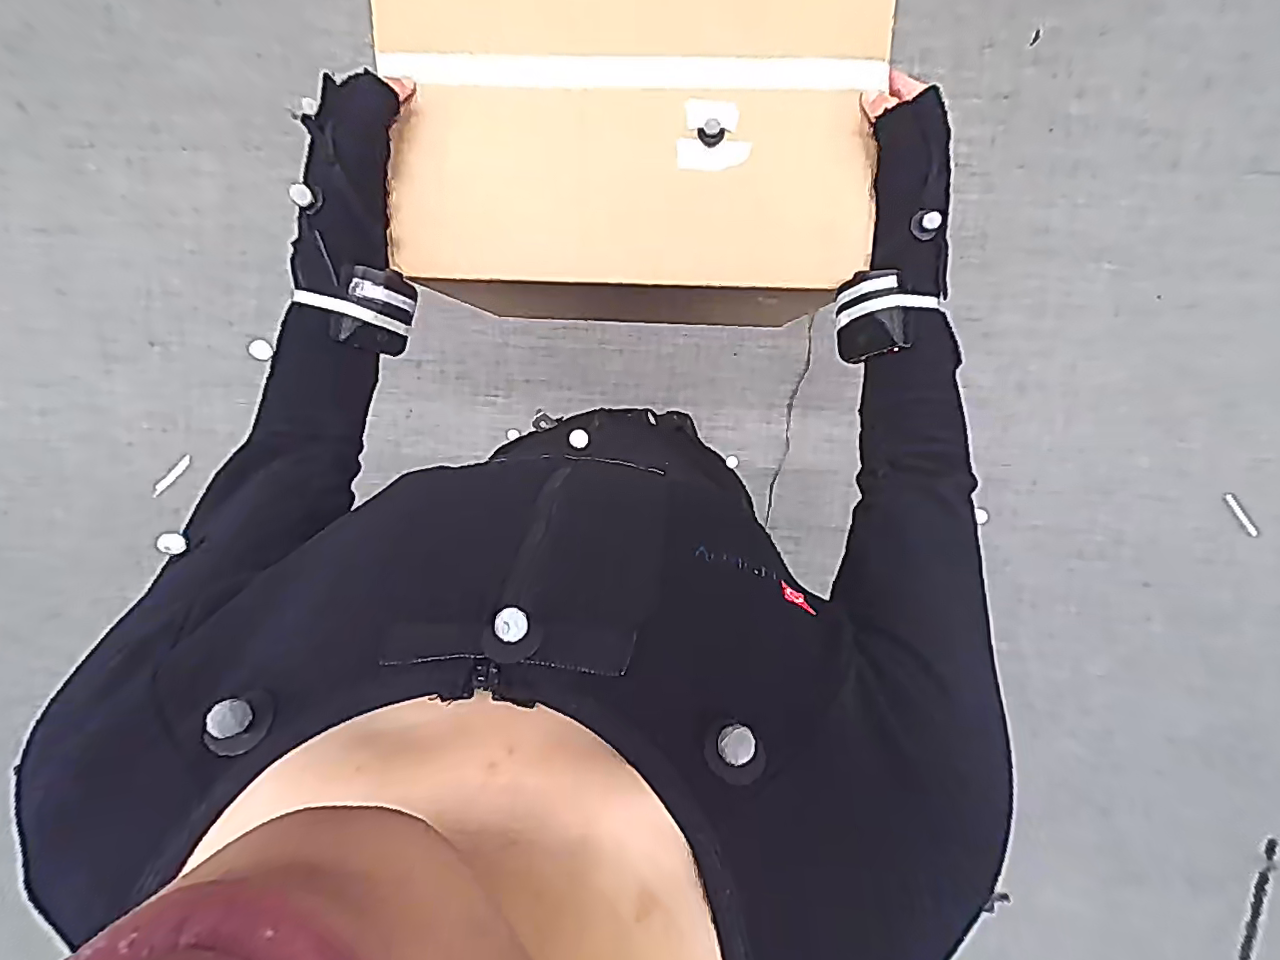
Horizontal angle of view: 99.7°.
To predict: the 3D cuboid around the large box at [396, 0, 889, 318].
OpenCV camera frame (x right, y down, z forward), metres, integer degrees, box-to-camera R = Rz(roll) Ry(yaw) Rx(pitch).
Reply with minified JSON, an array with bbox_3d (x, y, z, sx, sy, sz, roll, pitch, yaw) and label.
[{"bbox_3d":[0.000,-0.355,0.588,0.408,0.320,0.320,2,100,1],"label":"large box"}]
